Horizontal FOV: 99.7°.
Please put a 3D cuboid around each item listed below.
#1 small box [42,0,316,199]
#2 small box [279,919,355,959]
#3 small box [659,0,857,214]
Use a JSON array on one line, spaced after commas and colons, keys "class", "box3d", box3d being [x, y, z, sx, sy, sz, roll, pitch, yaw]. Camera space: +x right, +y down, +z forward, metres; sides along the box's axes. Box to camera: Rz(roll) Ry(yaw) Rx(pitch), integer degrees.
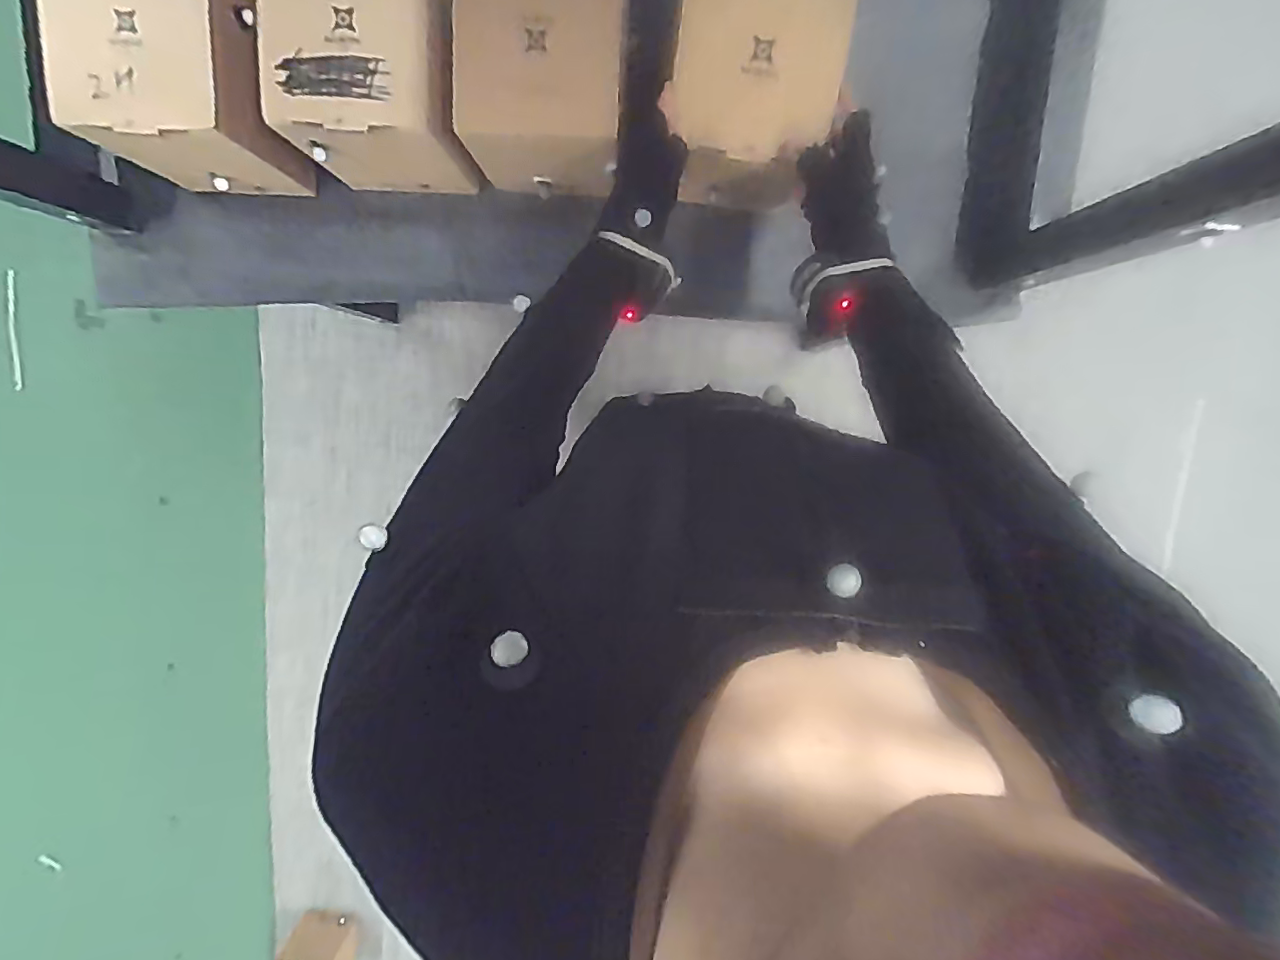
[{"class": "small box", "box3d": [-0.489, -0.439, 0.600, 0.168, 0.176, 0.179, 2, 98, 0]}, {"class": "small box", "box3d": [-0.976, 1.464, 1.614, 0.168, 0.176, 0.179, 6, 99, 0]}, {"class": "small box", "box3d": [0.114, -0.419, 0.595, 0.168, 0.176, 0.179, 6, 101, -3]}]
